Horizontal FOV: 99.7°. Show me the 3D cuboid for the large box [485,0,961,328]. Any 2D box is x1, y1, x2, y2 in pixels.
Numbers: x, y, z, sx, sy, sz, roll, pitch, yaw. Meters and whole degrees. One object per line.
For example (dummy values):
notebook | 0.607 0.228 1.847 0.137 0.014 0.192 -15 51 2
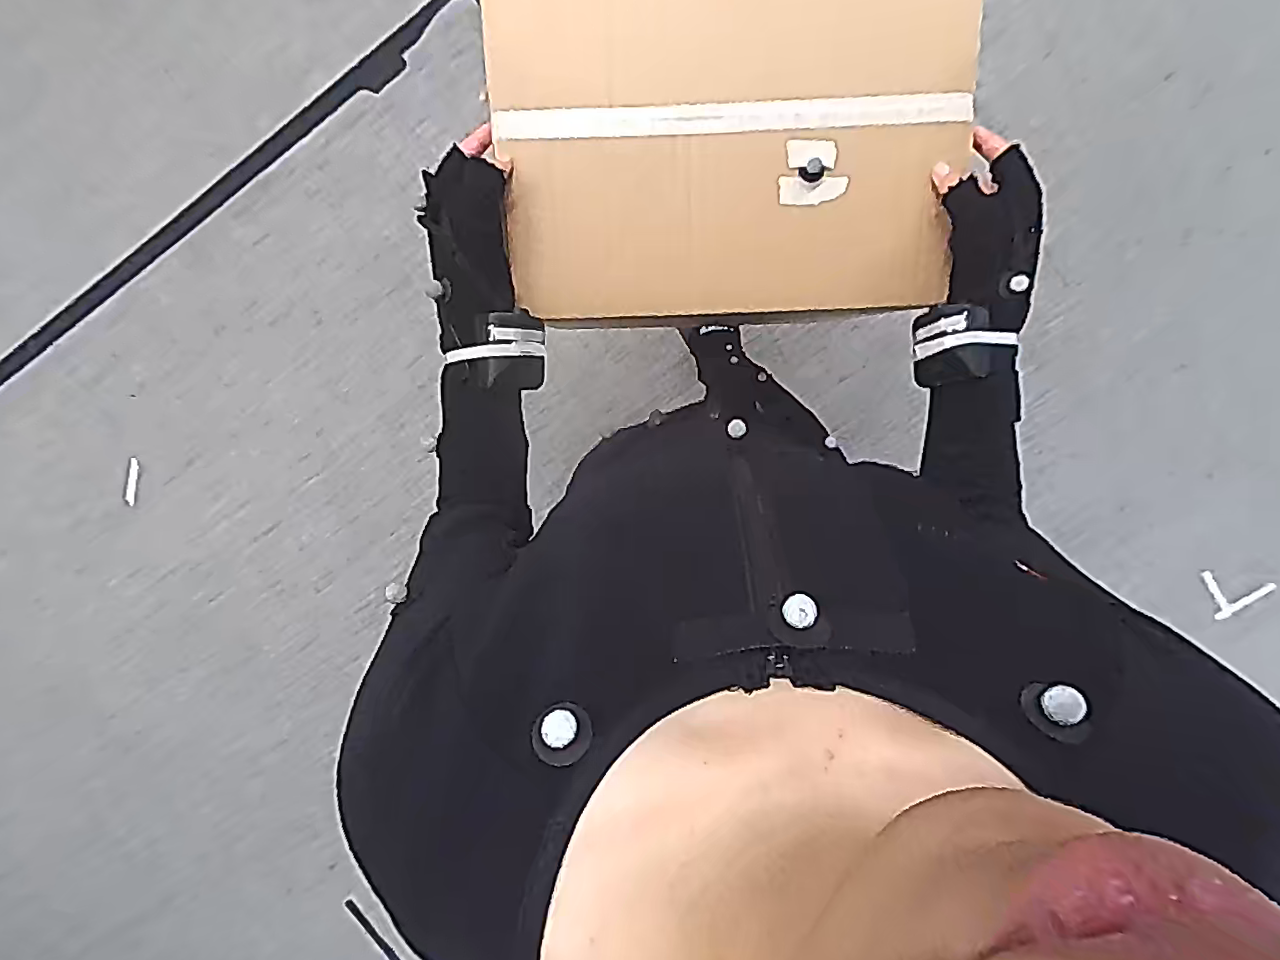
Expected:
large box | 0.070 -0.351 0.614 0.408 0.320 0.320 -2 103 -1
